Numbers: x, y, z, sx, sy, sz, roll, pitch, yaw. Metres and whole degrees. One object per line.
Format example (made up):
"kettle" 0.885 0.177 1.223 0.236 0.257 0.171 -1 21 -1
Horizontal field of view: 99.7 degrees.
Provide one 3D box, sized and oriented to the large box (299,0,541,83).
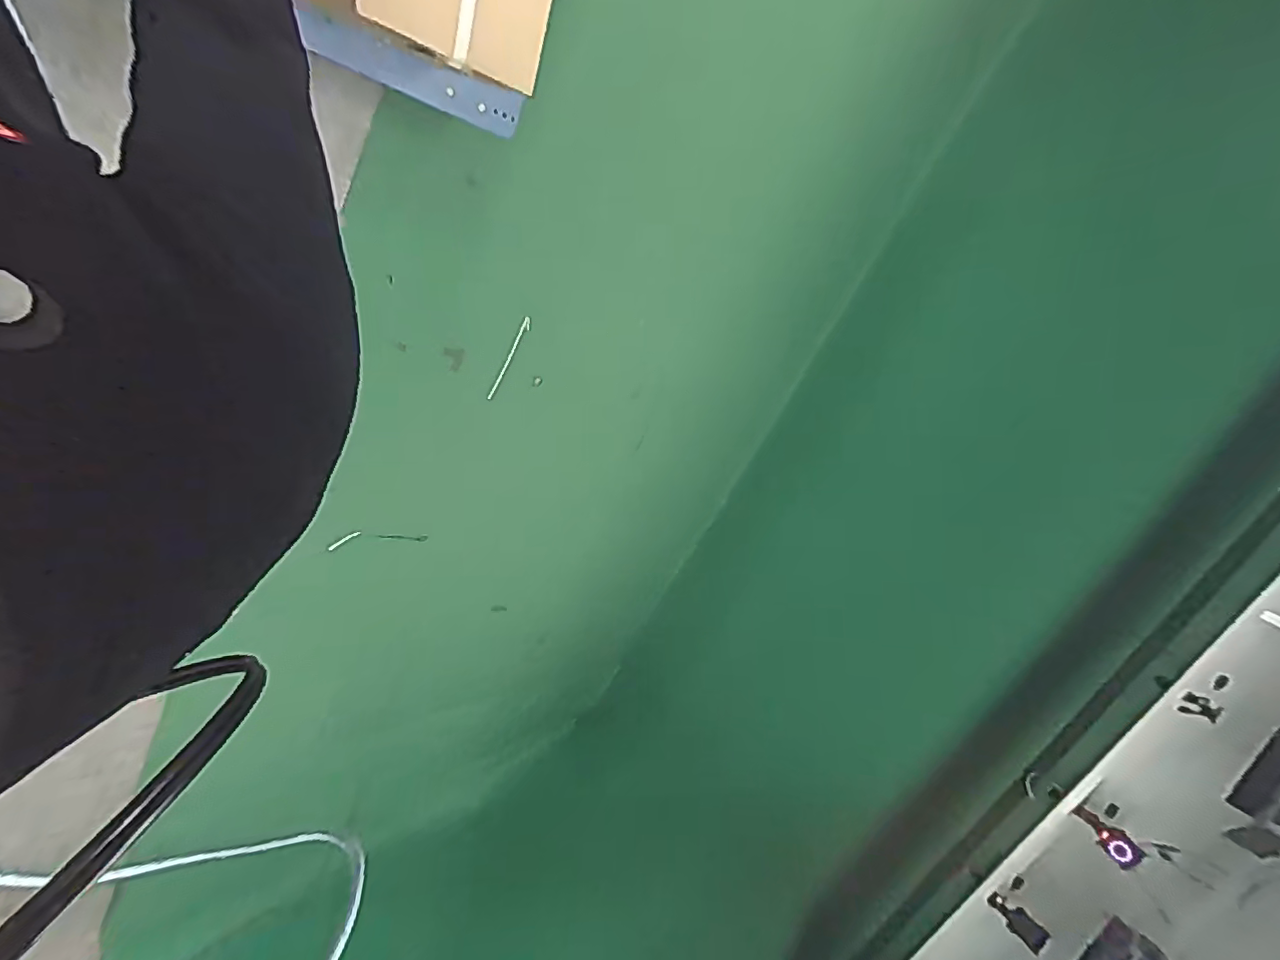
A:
"large box" -0.348 -0.928 0.844 0.320 0.320 0.408 -15 133 -50
